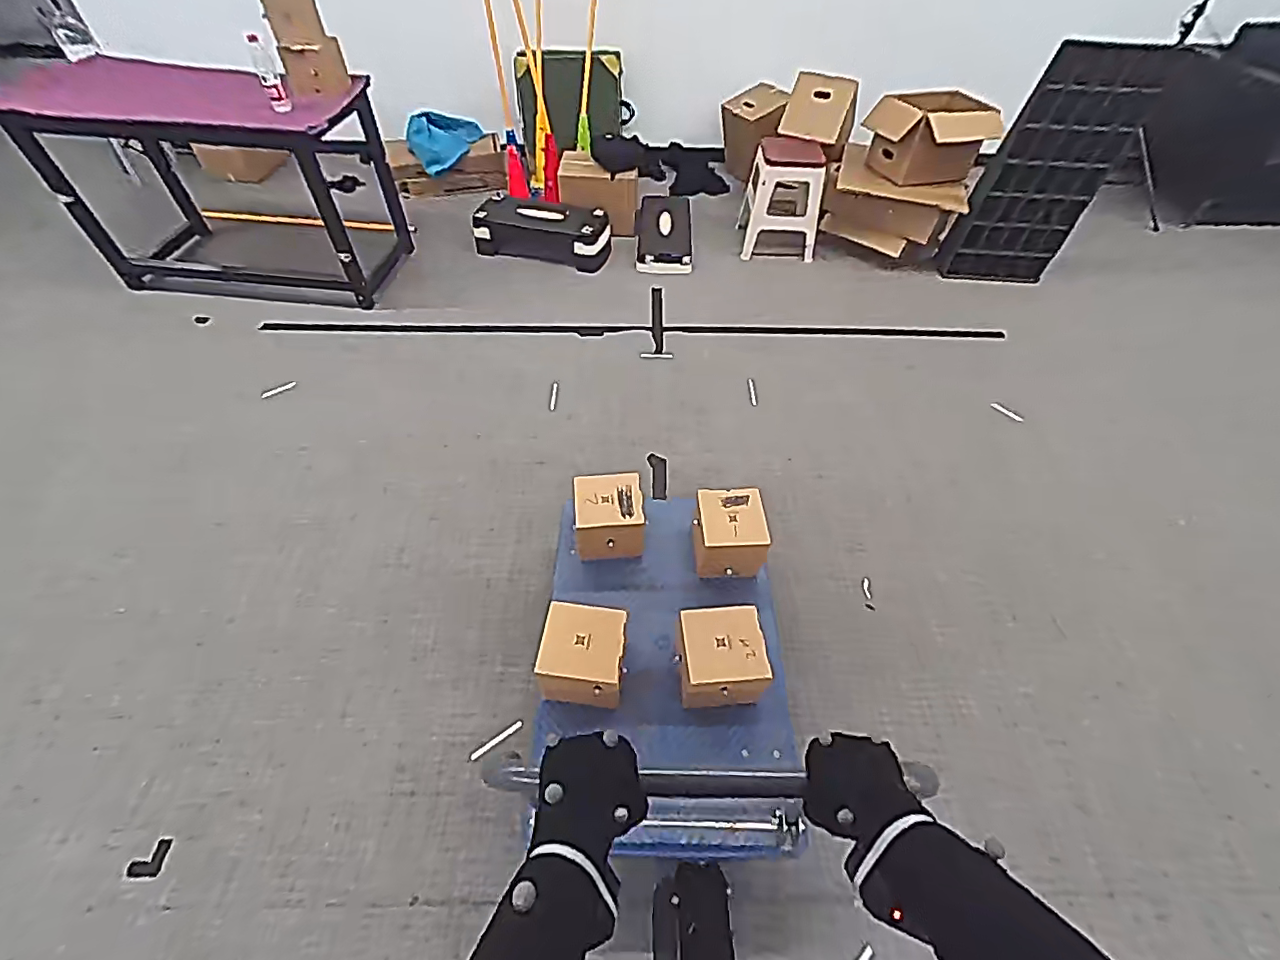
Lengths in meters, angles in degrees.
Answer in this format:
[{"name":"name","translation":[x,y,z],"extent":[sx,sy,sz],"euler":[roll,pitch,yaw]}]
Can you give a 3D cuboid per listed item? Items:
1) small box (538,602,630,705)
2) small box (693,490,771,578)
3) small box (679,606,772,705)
[{"name":"small box","translation":[-0.122,0.399,1.231],"extent":[0.179,0.176,0.168],"euler":[7,51,2]},{"name":"small box","translation":[0.237,0.144,1.447],"extent":[0.168,0.176,0.179],"euler":[-2,52,-3]},{"name":"small box","translation":[0.184,0.404,1.236],"extent":[0.179,0.176,0.168],"euler":[-3,51,-4]}]
